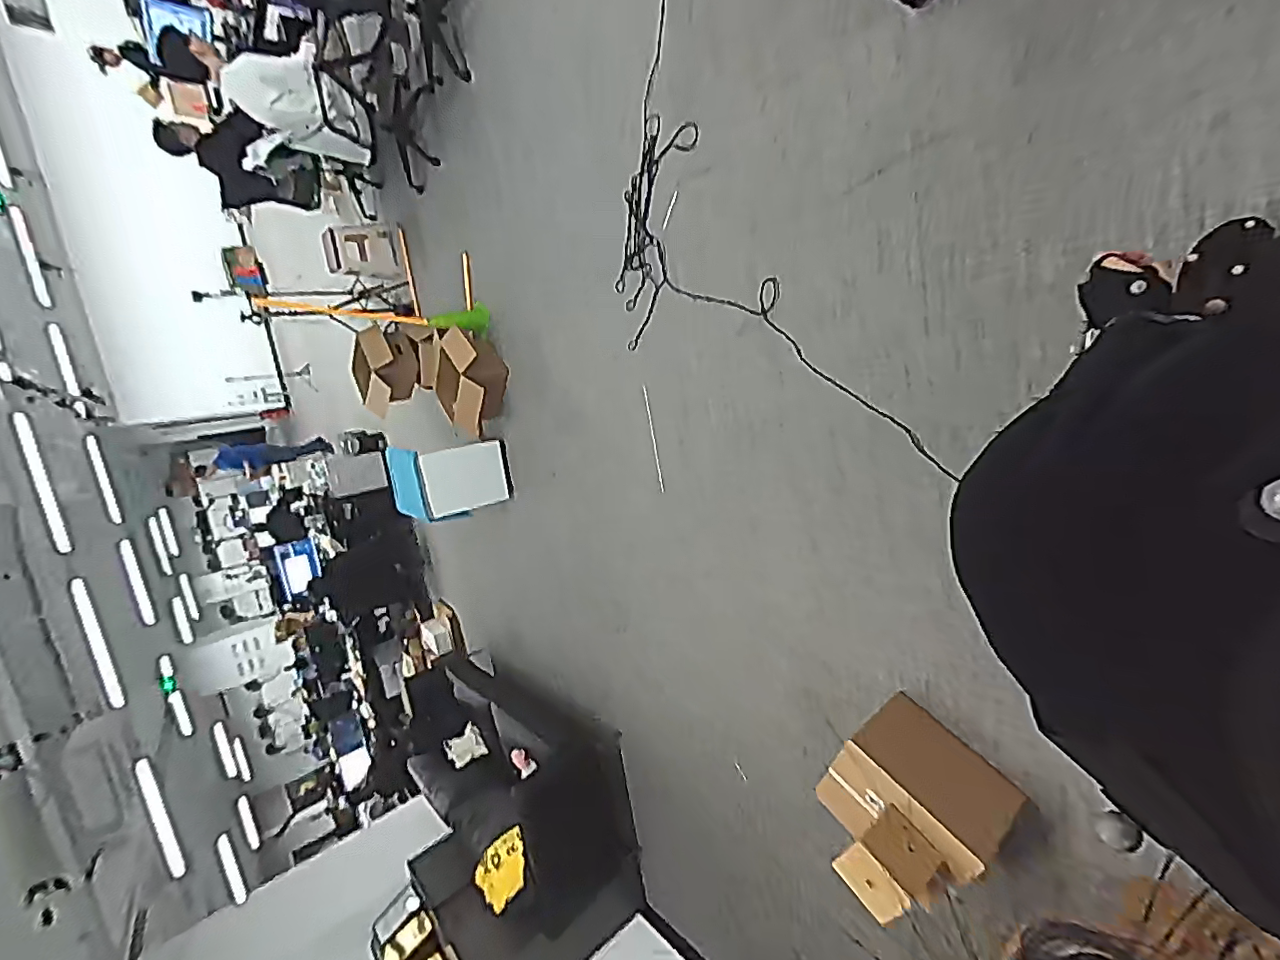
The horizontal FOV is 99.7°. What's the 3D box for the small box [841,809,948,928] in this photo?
[{"bbox_3d":[0.678,1.026,1.437,0.168,0.176,0.179,43,135,35],"label":"small box"}]
